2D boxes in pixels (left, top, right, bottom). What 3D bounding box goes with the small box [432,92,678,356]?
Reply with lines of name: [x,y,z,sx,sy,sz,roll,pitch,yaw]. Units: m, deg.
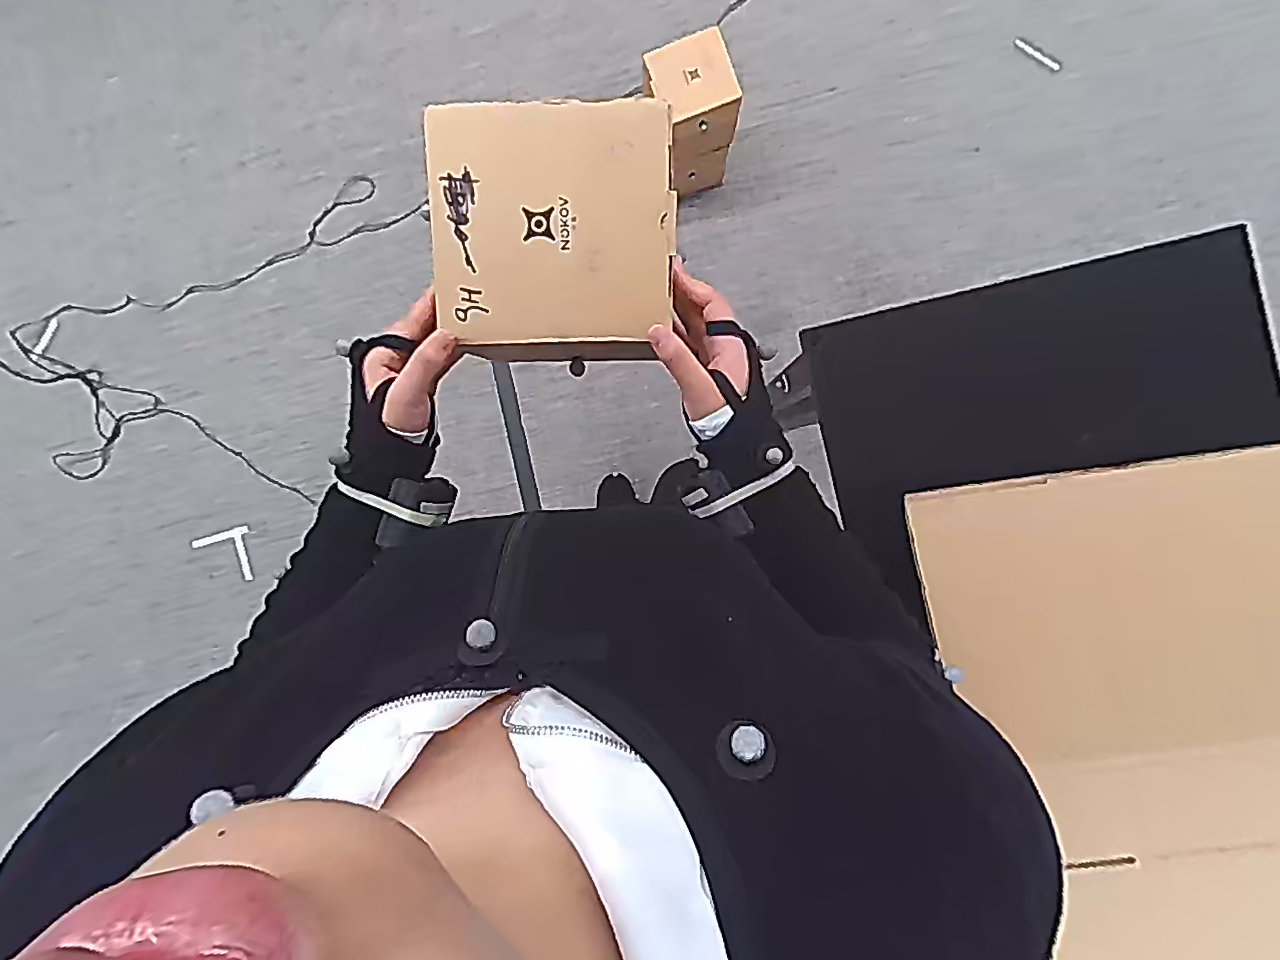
small box: [-0.062,-0.201,0.471,0.179,0.176,0.168,-1,97,-1]

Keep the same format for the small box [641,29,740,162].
small box: [0.114,-0.873,1.251,0.179,0.176,0.168,-20,90,2]

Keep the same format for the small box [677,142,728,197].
small box: [0.115,-0.871,1.414,0.179,0.176,0.168,-17,89,3]
